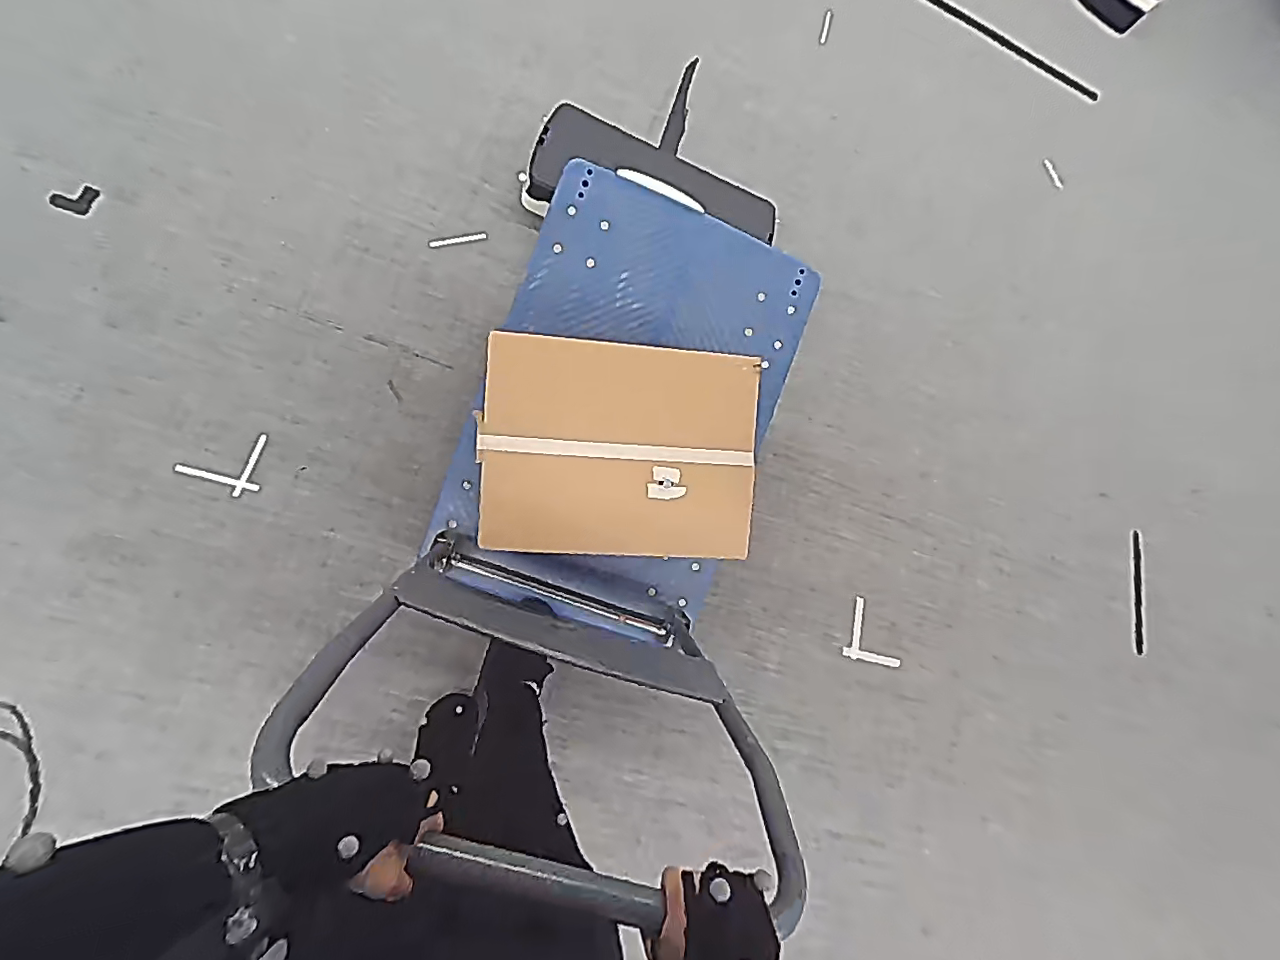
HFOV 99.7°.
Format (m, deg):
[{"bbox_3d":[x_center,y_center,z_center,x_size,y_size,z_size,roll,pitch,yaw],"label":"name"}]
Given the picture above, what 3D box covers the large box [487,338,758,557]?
[{"bbox_3d":[-0.046,-0.046,0.951,0.408,0.320,0.320,3,92,-10],"label":"large box"}]
